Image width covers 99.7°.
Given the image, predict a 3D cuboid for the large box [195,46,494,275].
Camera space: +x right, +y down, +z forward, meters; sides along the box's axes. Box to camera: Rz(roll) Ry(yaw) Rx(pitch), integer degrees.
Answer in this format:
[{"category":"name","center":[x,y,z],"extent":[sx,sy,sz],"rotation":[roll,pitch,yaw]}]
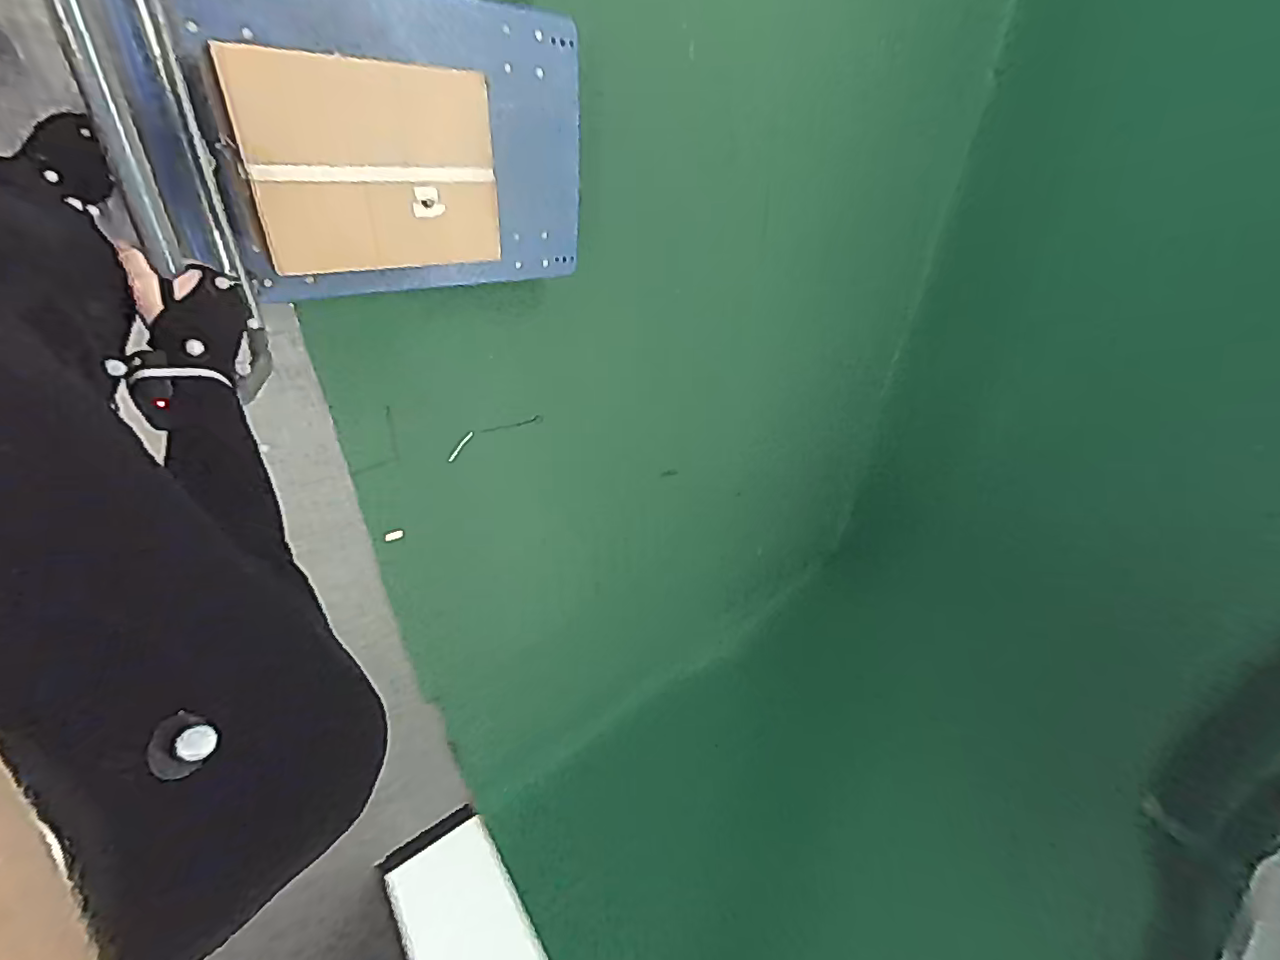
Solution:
[{"category":"large box","center":[-0.543,-0.598,1.033],"extent":[0.408,0.320,0.320],"rotation":[-20,129,-32]}]
